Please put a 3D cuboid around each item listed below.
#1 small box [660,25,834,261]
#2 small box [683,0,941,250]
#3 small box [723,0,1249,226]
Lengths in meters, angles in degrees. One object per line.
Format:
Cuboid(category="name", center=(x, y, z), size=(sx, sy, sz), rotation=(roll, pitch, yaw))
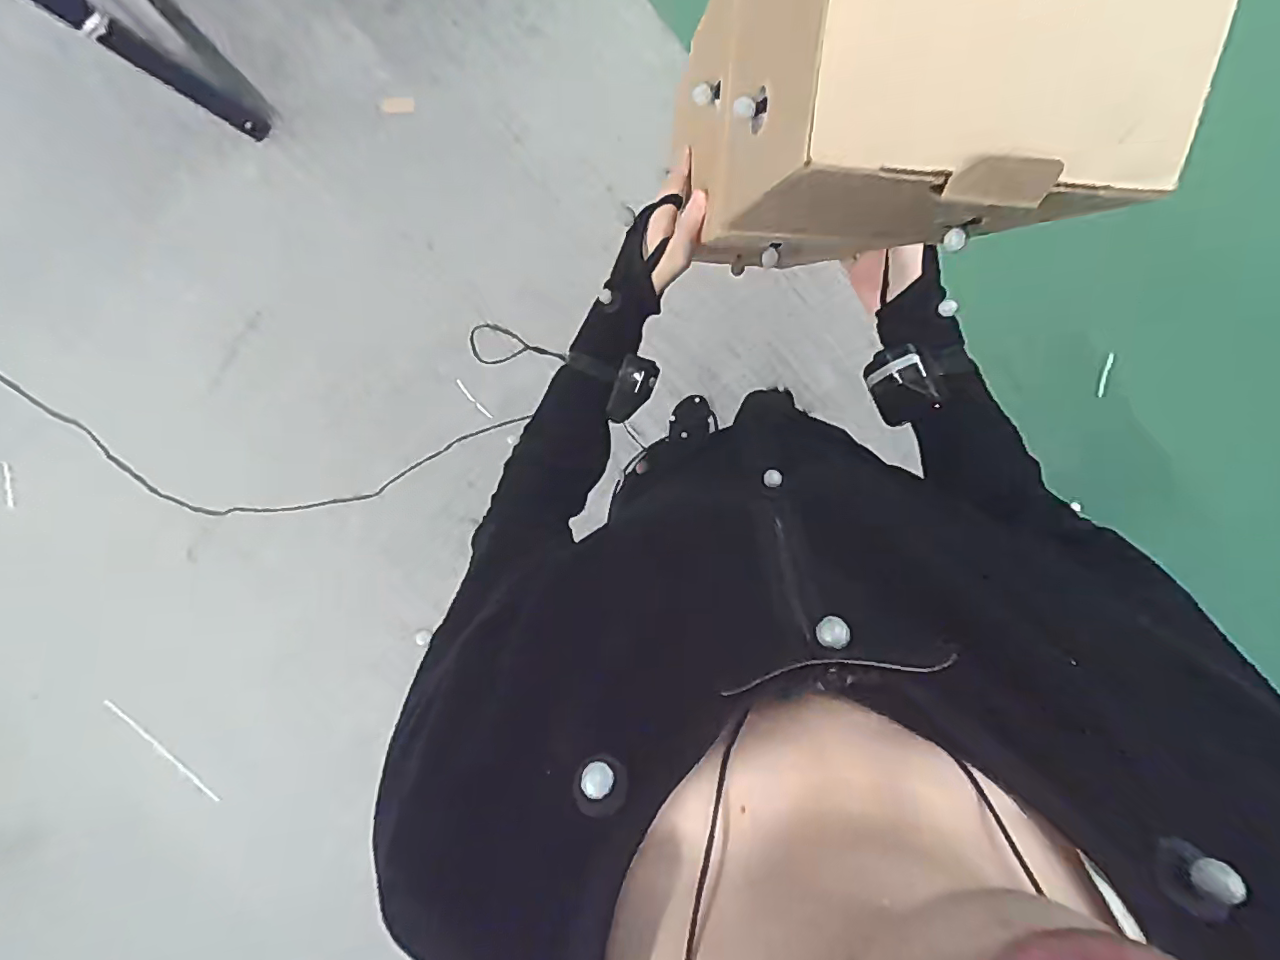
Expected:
Cuboid(category="small box", center=(0.114, -0.334, 0.575), size=(0.168, 0.176, 0.179), rotation=(2, 108, -5))
Cuboid(category="small box", center=(0.128, -0.280, 0.421), size=(0.168, 0.176, 0.179), rotation=(-1, 107, -4))
Cuboid(category="small box", center=(0.142, -0.233, 0.266), size=(0.168, 0.176, 0.179), rotation=(1, 106, -5))
